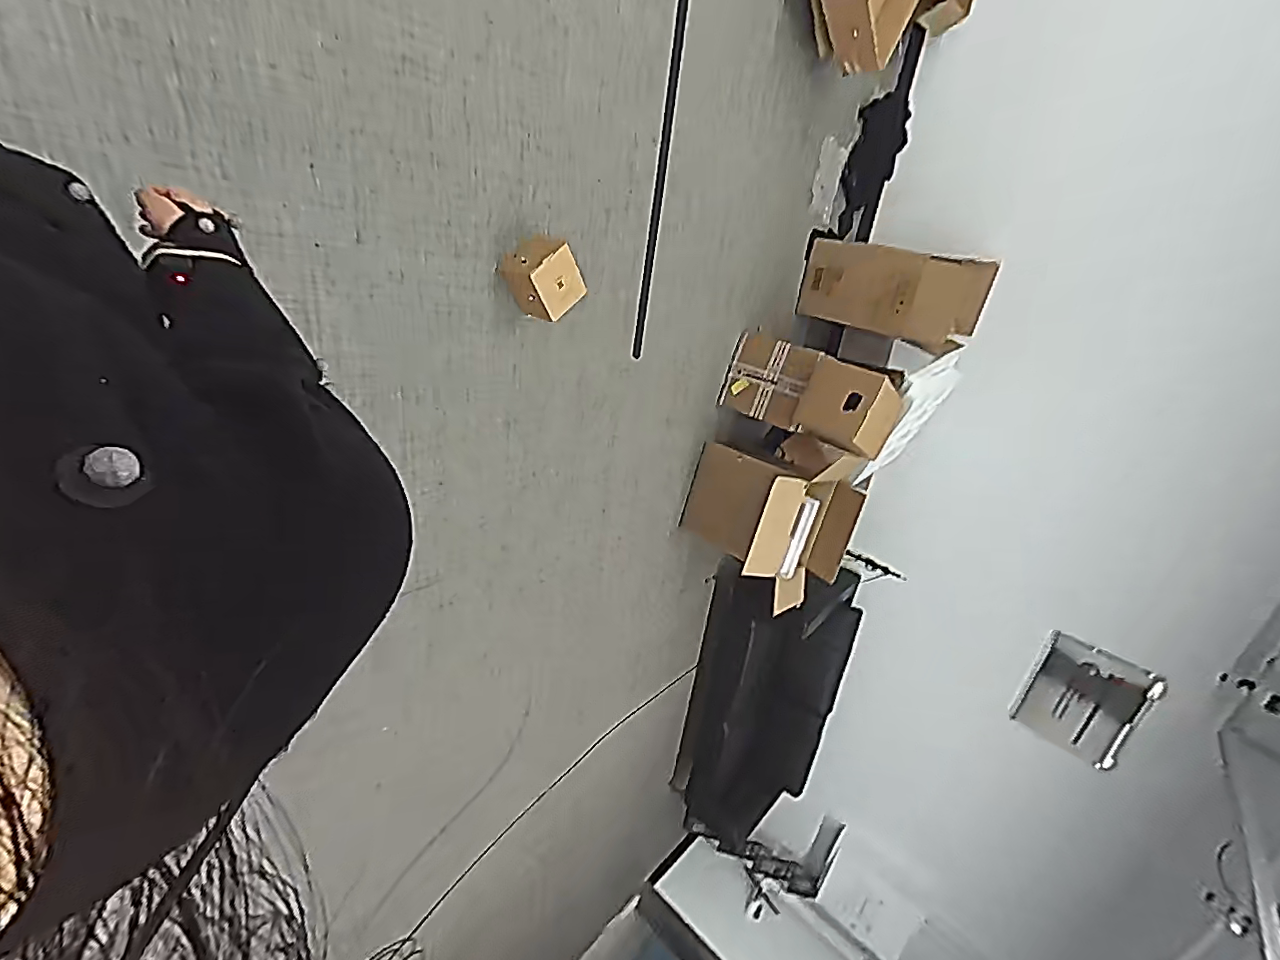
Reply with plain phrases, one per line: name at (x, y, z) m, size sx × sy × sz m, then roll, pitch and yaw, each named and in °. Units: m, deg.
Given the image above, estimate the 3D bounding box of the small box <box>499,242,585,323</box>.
small box at (-0.309, -0.624, 1.694) m, size 0.168 × 0.176 × 0.179 m, roll -49°, pitch 143°, yaw -18°
